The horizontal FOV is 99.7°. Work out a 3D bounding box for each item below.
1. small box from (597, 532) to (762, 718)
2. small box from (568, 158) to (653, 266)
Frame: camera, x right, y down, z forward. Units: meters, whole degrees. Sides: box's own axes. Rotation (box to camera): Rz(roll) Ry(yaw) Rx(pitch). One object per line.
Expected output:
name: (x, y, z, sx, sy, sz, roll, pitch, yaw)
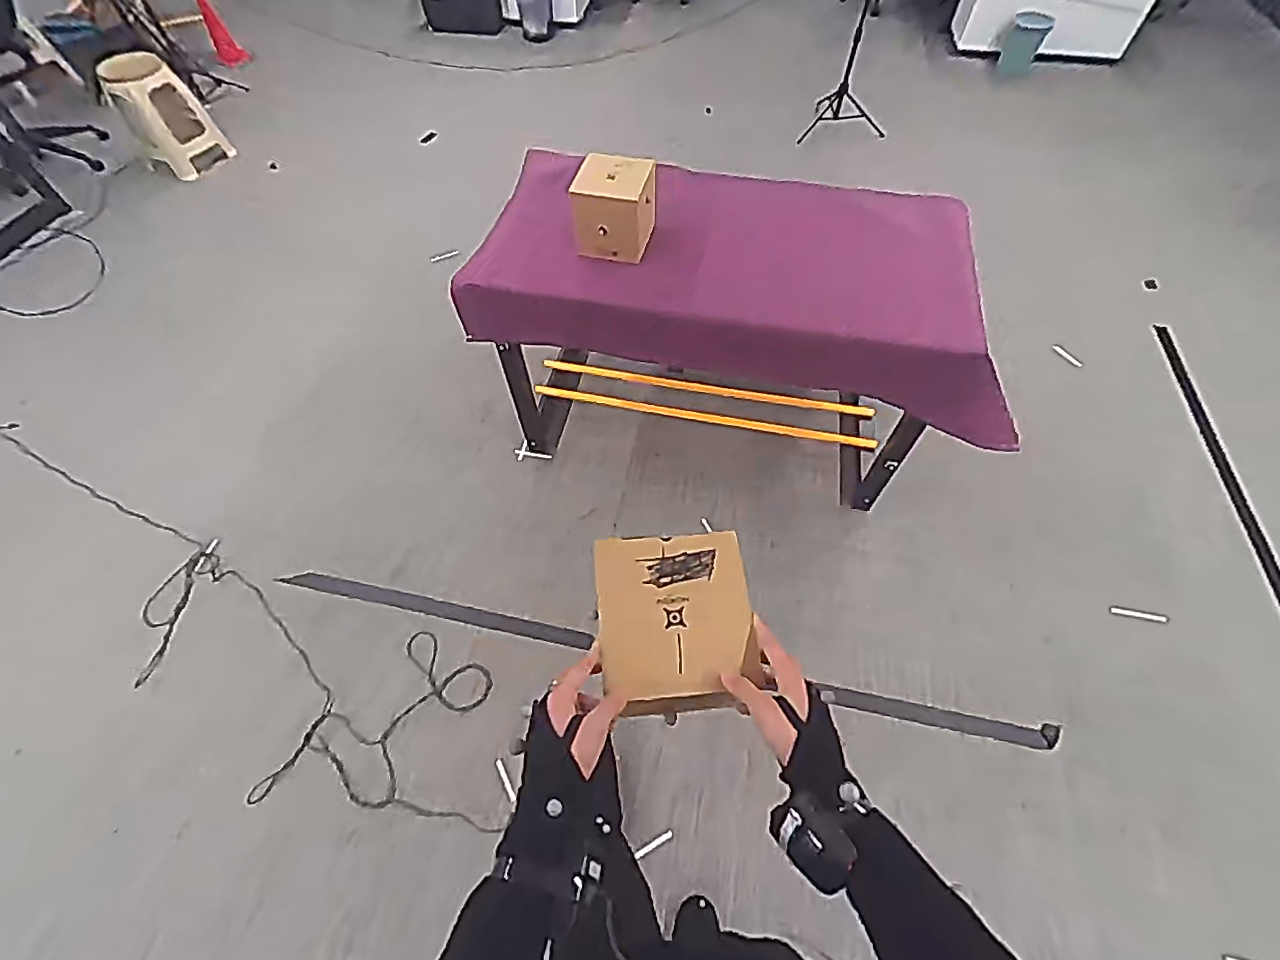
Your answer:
small box: (0.033, 0.178, 0.651, 0.168, 0.176, 0.179, -4, 62, -4)
small box: (-0.066, -0.656, 1.332, 0.168, 0.176, 0.179, 12, 58, 7)
